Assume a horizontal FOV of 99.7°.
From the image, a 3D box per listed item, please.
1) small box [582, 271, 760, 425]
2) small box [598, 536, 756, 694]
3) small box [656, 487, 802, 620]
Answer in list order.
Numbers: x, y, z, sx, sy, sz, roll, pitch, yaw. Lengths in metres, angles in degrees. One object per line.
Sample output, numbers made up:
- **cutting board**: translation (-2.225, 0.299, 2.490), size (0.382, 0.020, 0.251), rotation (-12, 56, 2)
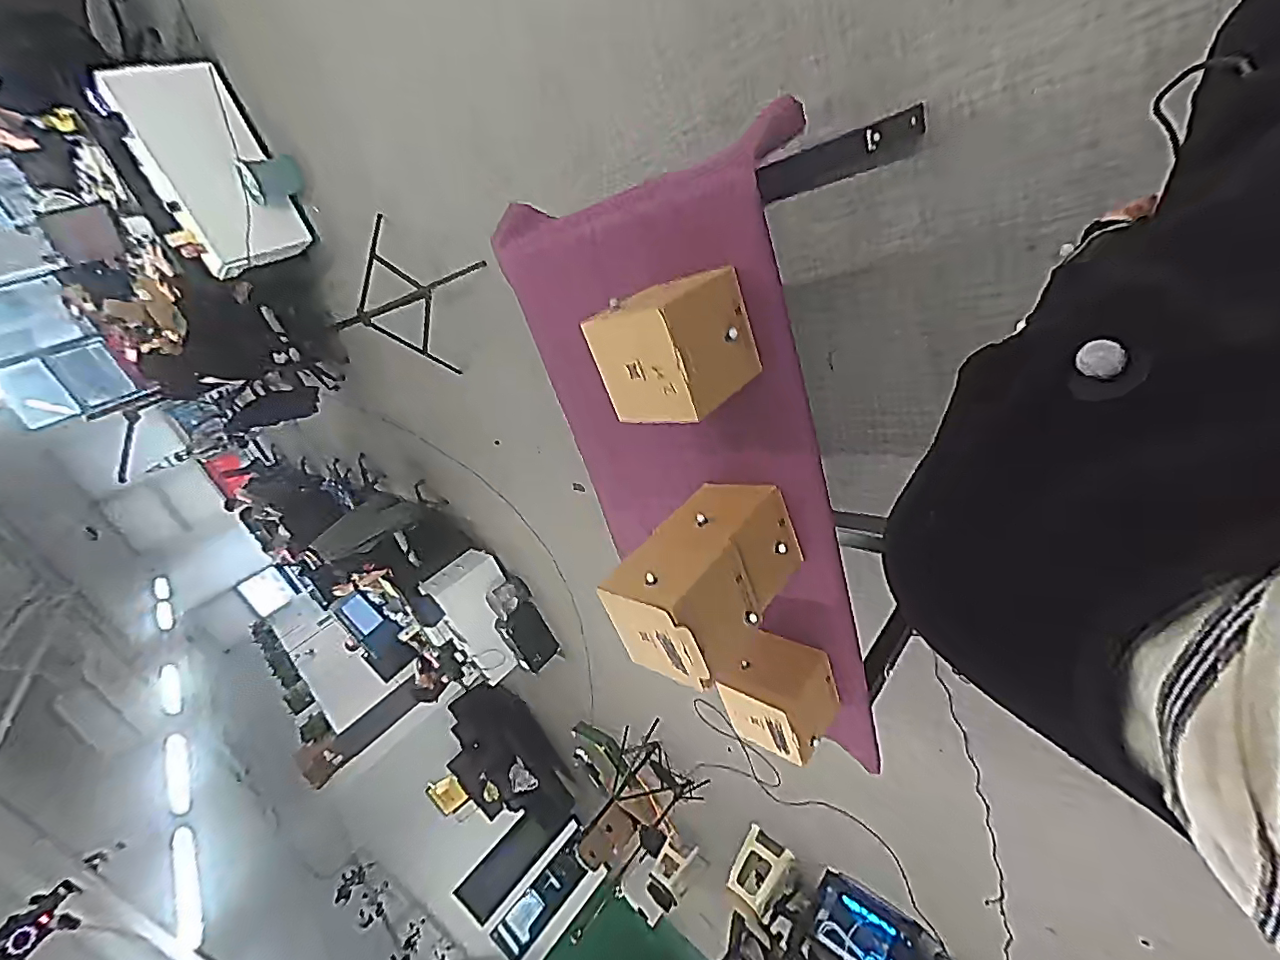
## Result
- **small box**: translation (0.051, -0.195, 0.815), size (0.179, 0.176, 0.168), rotation (7, 128, 47)
- **small box**: translation (0.069, 0.209, 0.886), size (0.179, 0.176, 0.168), rotation (3, 124, 48)
- **small box**: translation (0.166, 0.125, 0.990), size (0.179, 0.176, 0.168), rotation (1, 123, 49)
